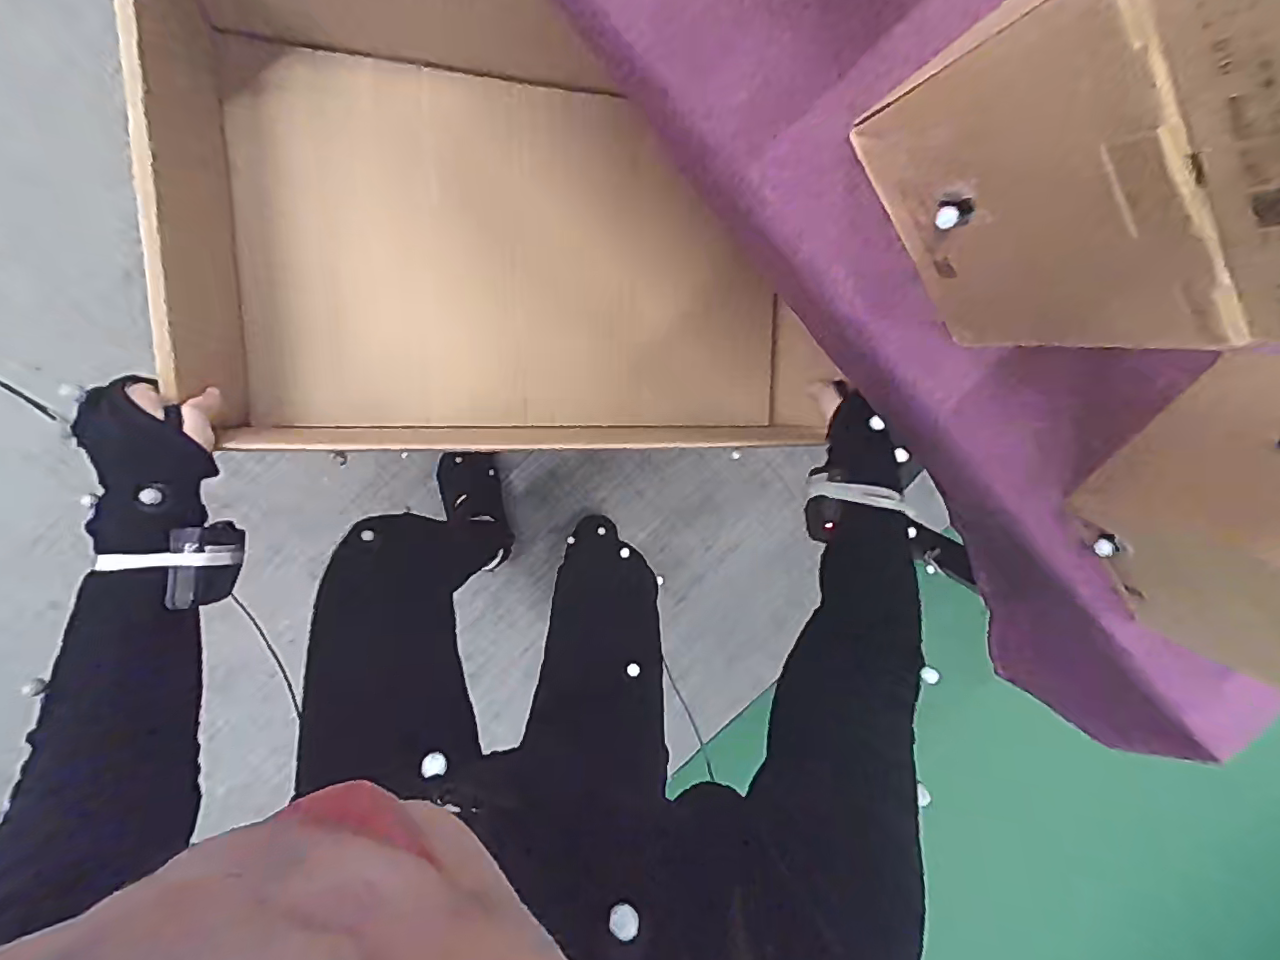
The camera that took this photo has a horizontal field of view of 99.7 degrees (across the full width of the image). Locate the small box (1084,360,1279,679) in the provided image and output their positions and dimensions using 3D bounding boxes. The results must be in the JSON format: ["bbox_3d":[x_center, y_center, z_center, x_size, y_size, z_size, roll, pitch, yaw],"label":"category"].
[{"bbox_3d":[0.469,0.034,0.384,0.179,0.176,0.168,-43,108,3],"label":"small box"}]

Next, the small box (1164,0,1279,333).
[{"bbox_3d":[0.297,-0.148,0.128,0.179,0.176,0.168,-37,108,2],"label":"small box"}]

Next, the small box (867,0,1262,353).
[{"bbox_3d":[0.263,-0.190,0.284,0.179,0.176,0.168,-38,109,3],"label":"small box"}]
